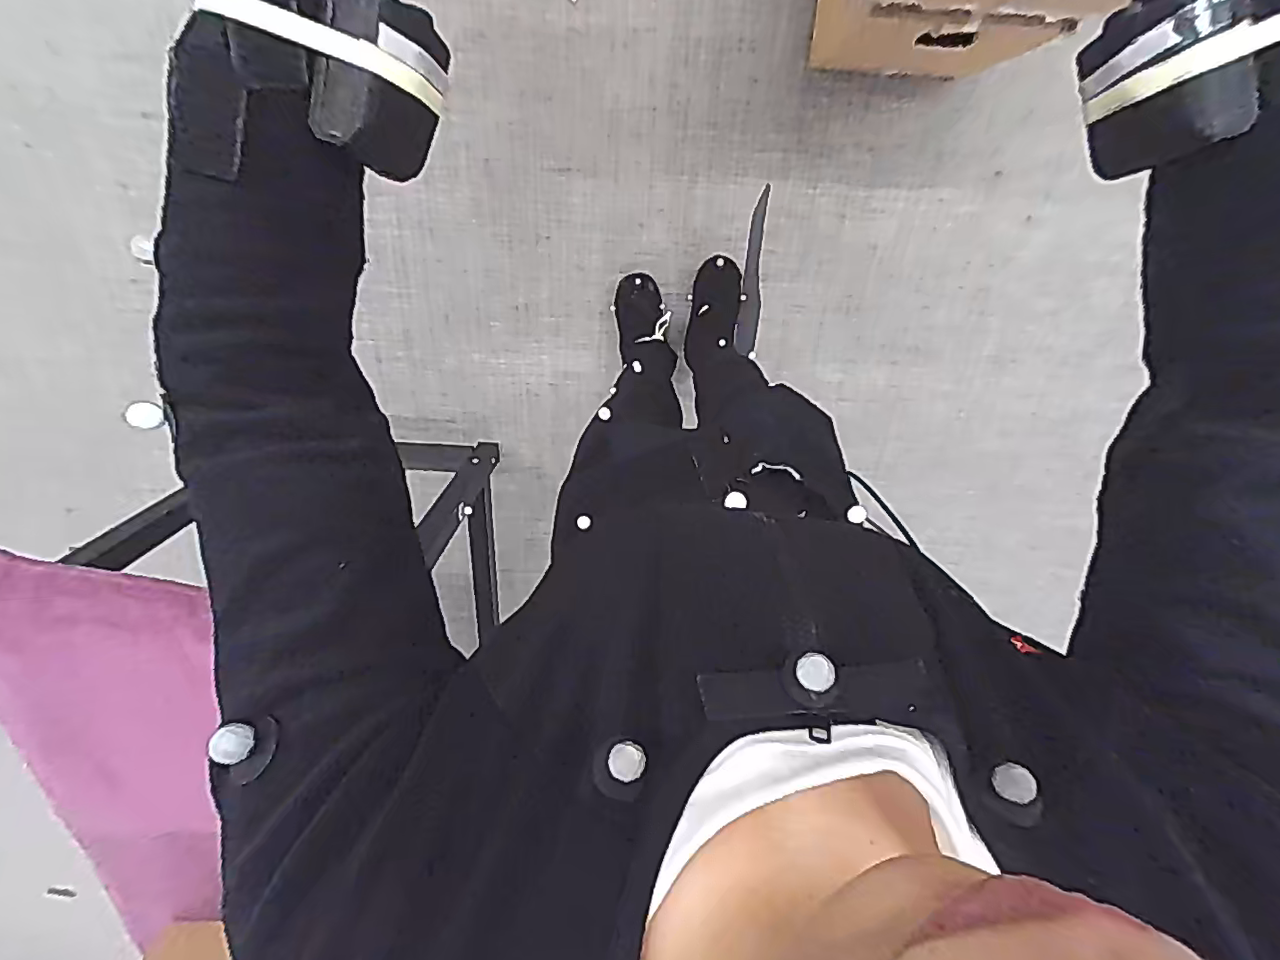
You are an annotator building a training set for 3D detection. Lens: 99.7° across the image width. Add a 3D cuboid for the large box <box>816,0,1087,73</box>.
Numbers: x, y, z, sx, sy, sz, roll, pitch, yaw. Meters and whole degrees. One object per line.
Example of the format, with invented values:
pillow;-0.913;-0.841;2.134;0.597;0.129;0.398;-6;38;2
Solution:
large box;0.495;-0.912;0.835;0.320;0.320;0.408;2;117;0
